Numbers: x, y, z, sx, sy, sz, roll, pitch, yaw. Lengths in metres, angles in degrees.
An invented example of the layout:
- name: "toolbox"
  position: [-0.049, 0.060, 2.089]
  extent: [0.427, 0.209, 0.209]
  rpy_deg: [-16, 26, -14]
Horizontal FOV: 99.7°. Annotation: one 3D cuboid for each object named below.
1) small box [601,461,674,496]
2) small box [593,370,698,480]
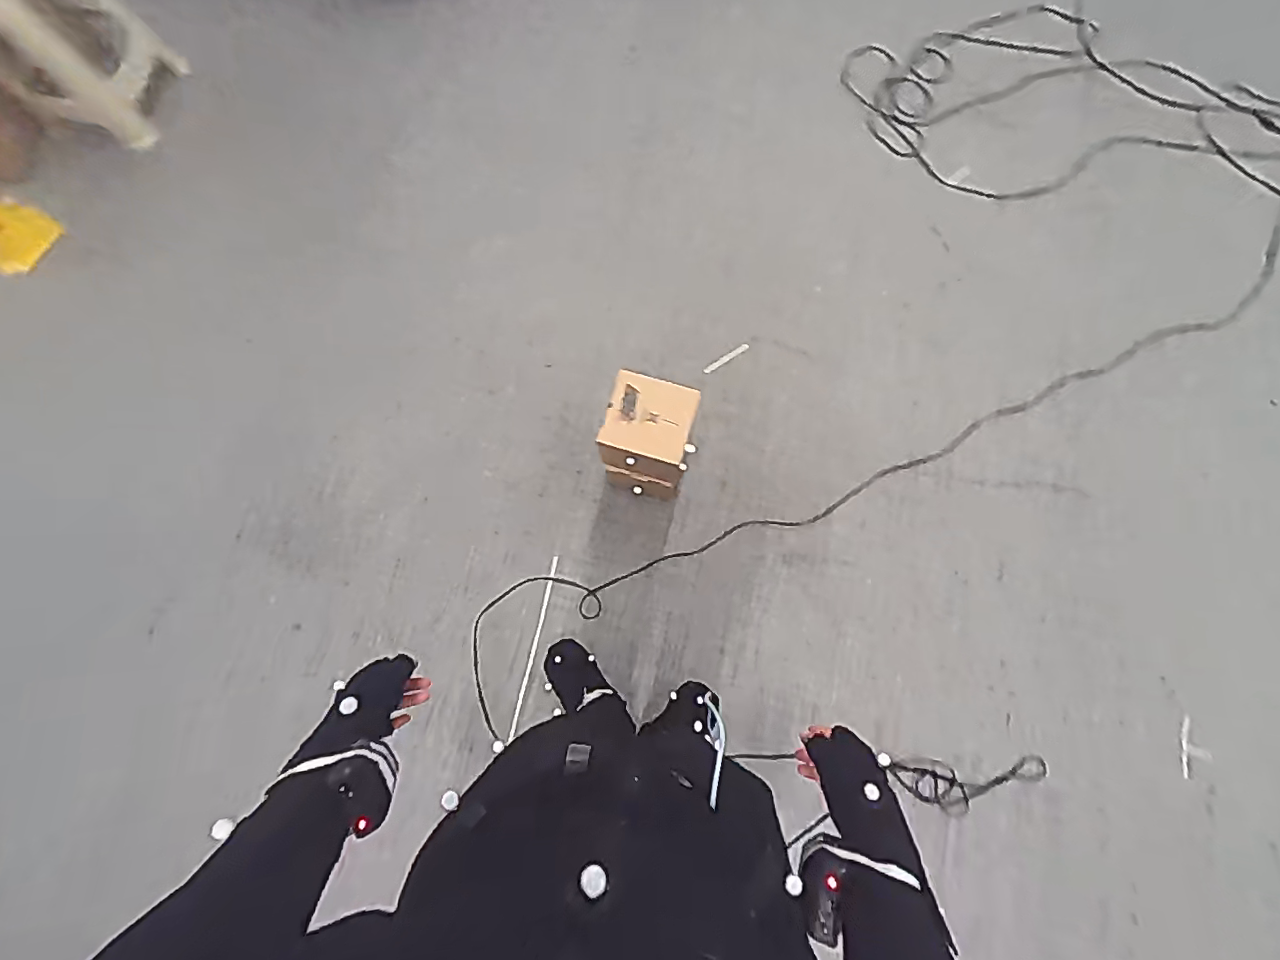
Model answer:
- name: "small box"
  position: [0.013, -0.070, 1.324]
  extent: [0.168, 0.176, 0.179]
  rpy_deg: [15, 79, 4]
- name: "small box"
  position: [0.013, -0.111, 1.164]
  extent: [0.179, 0.176, 0.168]
  rpy_deg: [16, 78, 4]
